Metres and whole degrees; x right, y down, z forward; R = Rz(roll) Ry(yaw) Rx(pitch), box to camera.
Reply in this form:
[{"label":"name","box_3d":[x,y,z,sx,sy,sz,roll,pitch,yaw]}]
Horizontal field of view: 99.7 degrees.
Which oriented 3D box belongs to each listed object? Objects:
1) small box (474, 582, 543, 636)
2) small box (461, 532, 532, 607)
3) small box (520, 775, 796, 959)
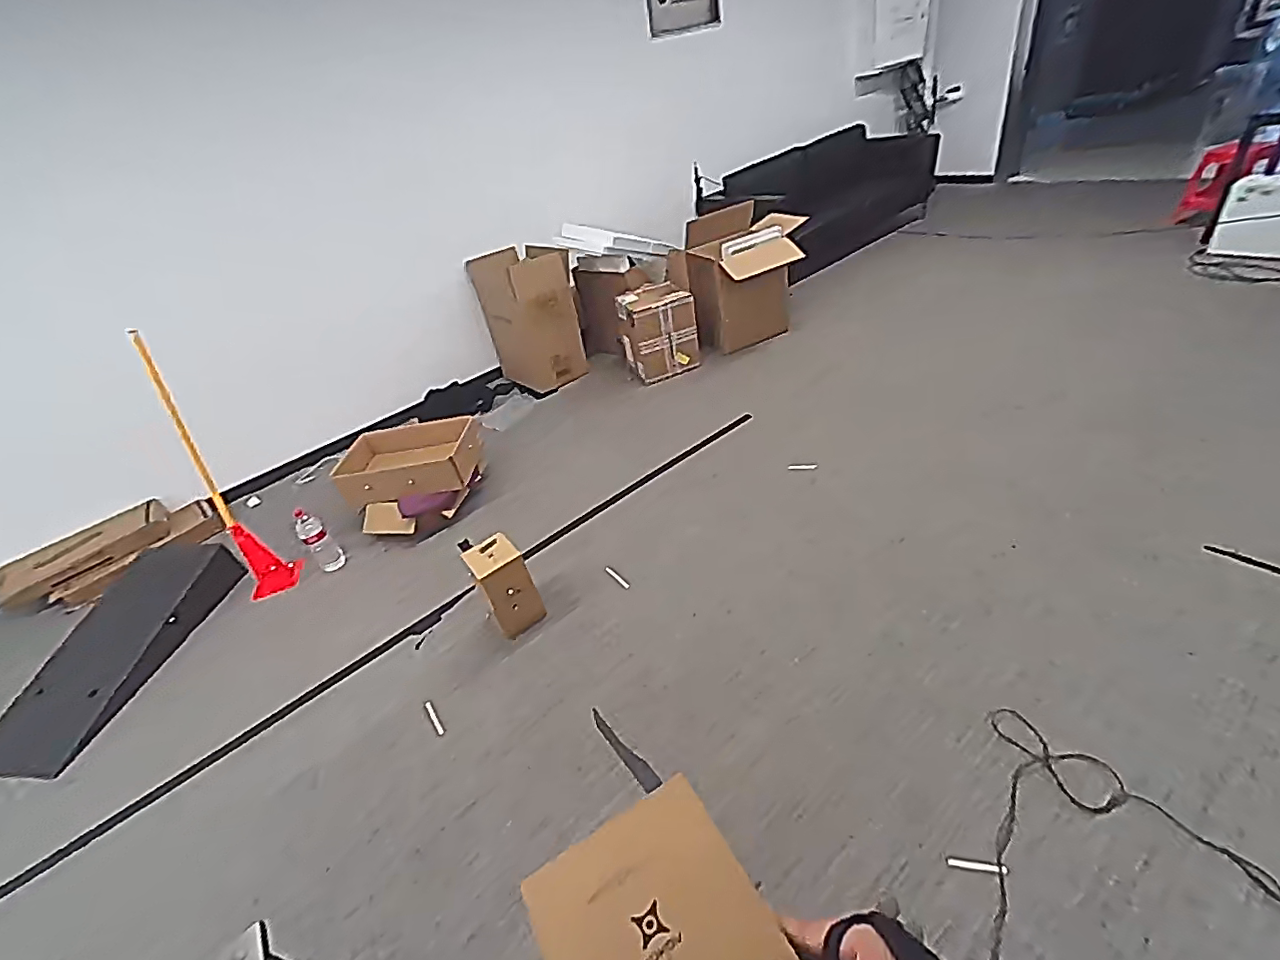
[{"label":"small box","box_3d":[-0.493,0.453,2.045,0.179,0.176,0.168,-31,40,-24]},{"label":"small box","box_3d":[-0.516,0.323,1.946,0.168,0.176,0.179,-31,41,-24]},{"label":"small box","box_3d":[0.024,0.405,0.458,0.168,0.176,0.179,-26,37,-18]}]
